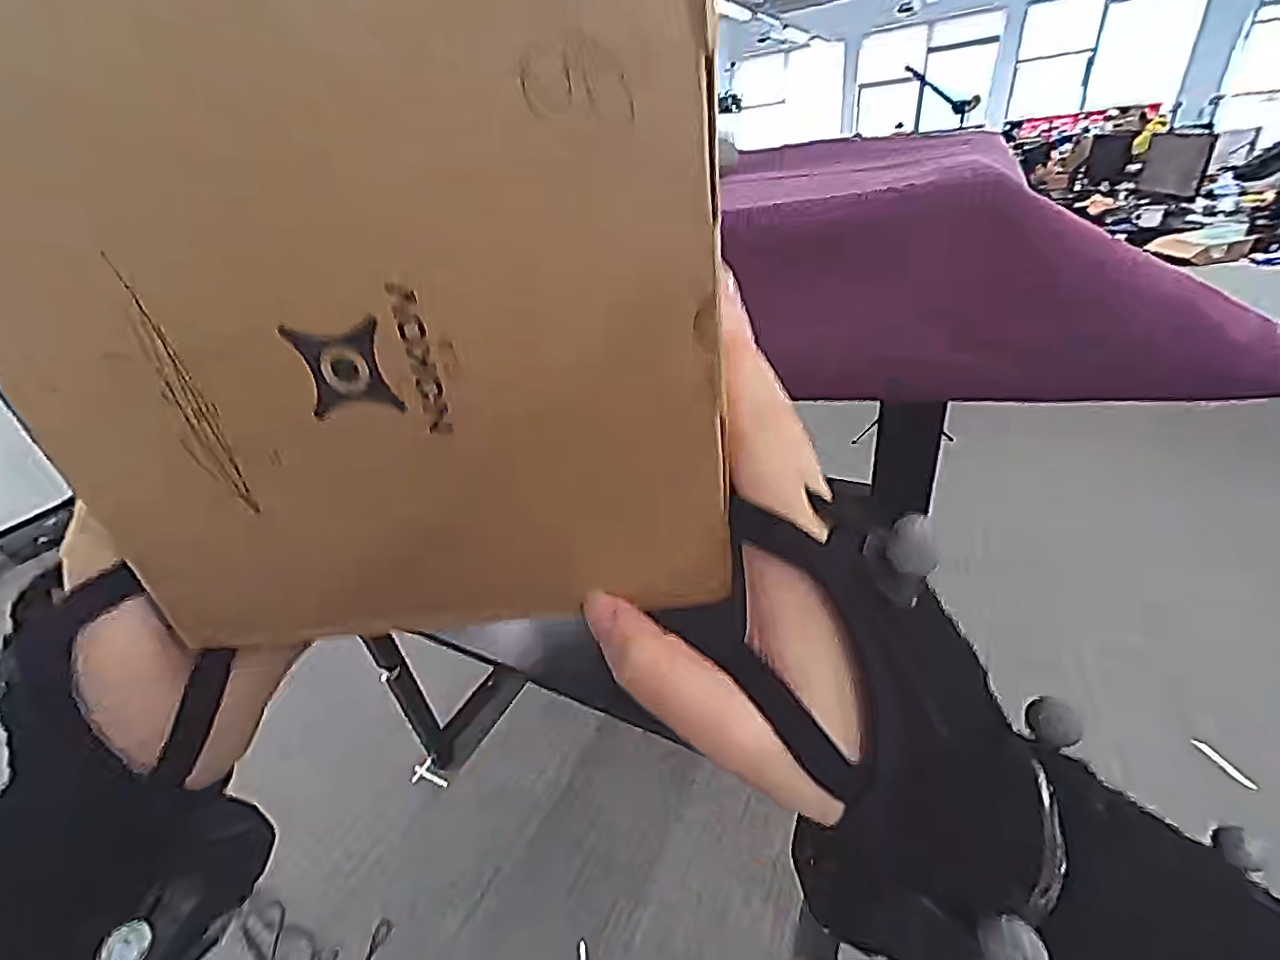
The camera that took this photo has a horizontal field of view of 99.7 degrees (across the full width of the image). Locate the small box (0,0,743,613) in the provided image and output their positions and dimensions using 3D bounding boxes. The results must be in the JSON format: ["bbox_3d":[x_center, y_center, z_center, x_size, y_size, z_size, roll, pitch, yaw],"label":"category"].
[{"bbox_3d":[-0.065,-0.077,0.189,0.179,0.168,0.176,-5,29,3],"label":"small box"}]
